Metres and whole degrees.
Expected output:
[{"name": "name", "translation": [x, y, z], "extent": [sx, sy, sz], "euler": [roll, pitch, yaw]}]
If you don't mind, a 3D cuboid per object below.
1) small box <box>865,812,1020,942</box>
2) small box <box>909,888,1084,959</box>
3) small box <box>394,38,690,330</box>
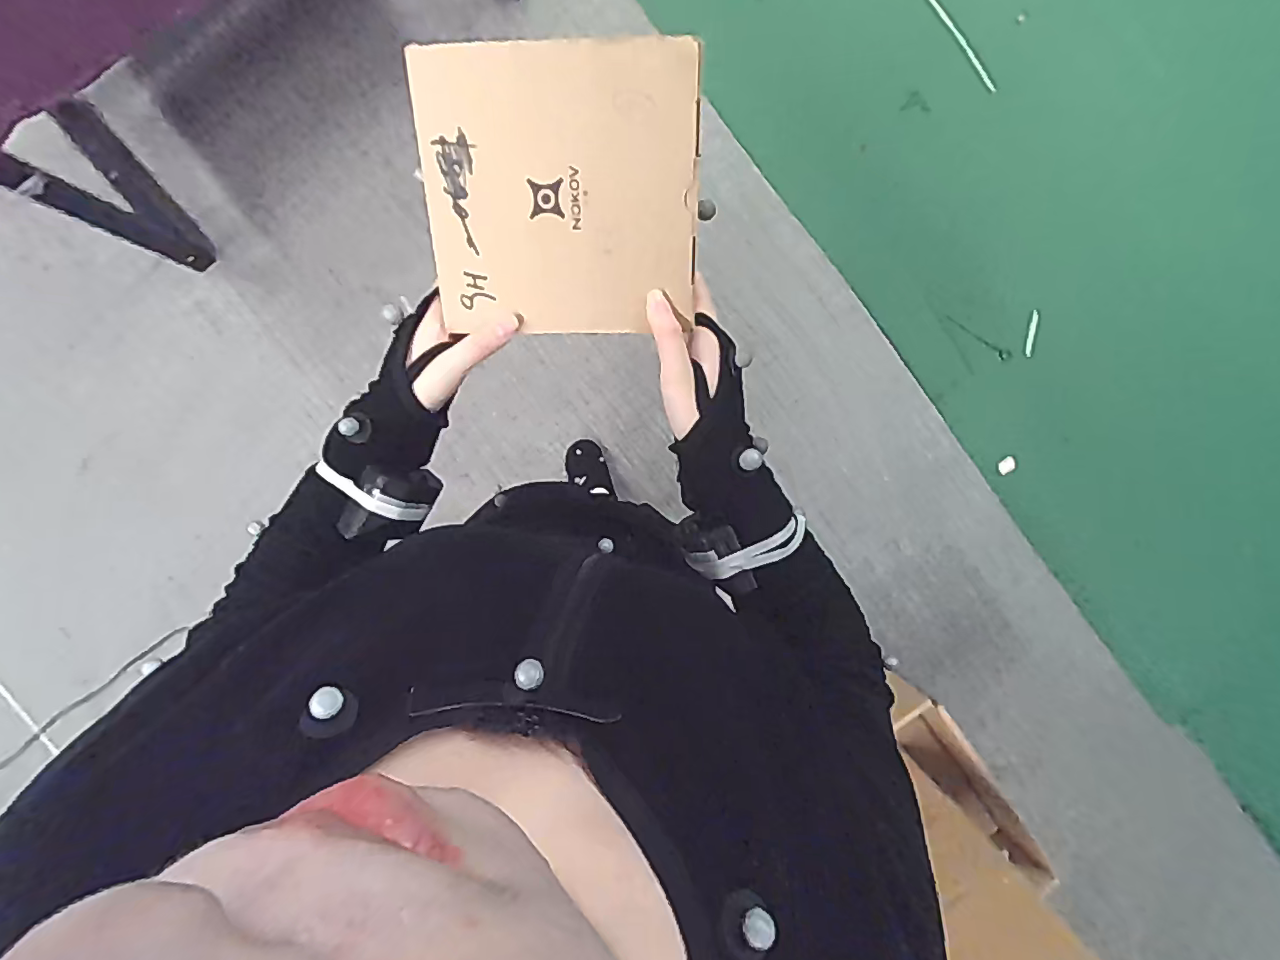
[{"name": "small box", "translation": [0.475, 0.644, 0.815], "extent": [0.168, 0.176, 0.179], "euler": [-30, 93, 2]}, {"name": "small box", "translation": [0.469, 0.651, 0.653], "extent": [0.179, 0.176, 0.168], "euler": [-27, 93, 2]}, {"name": "small box", "translation": [-0.056, -0.211, 0.417], "extent": [0.179, 0.176, 0.168], "euler": [1, 112, 3]}]
